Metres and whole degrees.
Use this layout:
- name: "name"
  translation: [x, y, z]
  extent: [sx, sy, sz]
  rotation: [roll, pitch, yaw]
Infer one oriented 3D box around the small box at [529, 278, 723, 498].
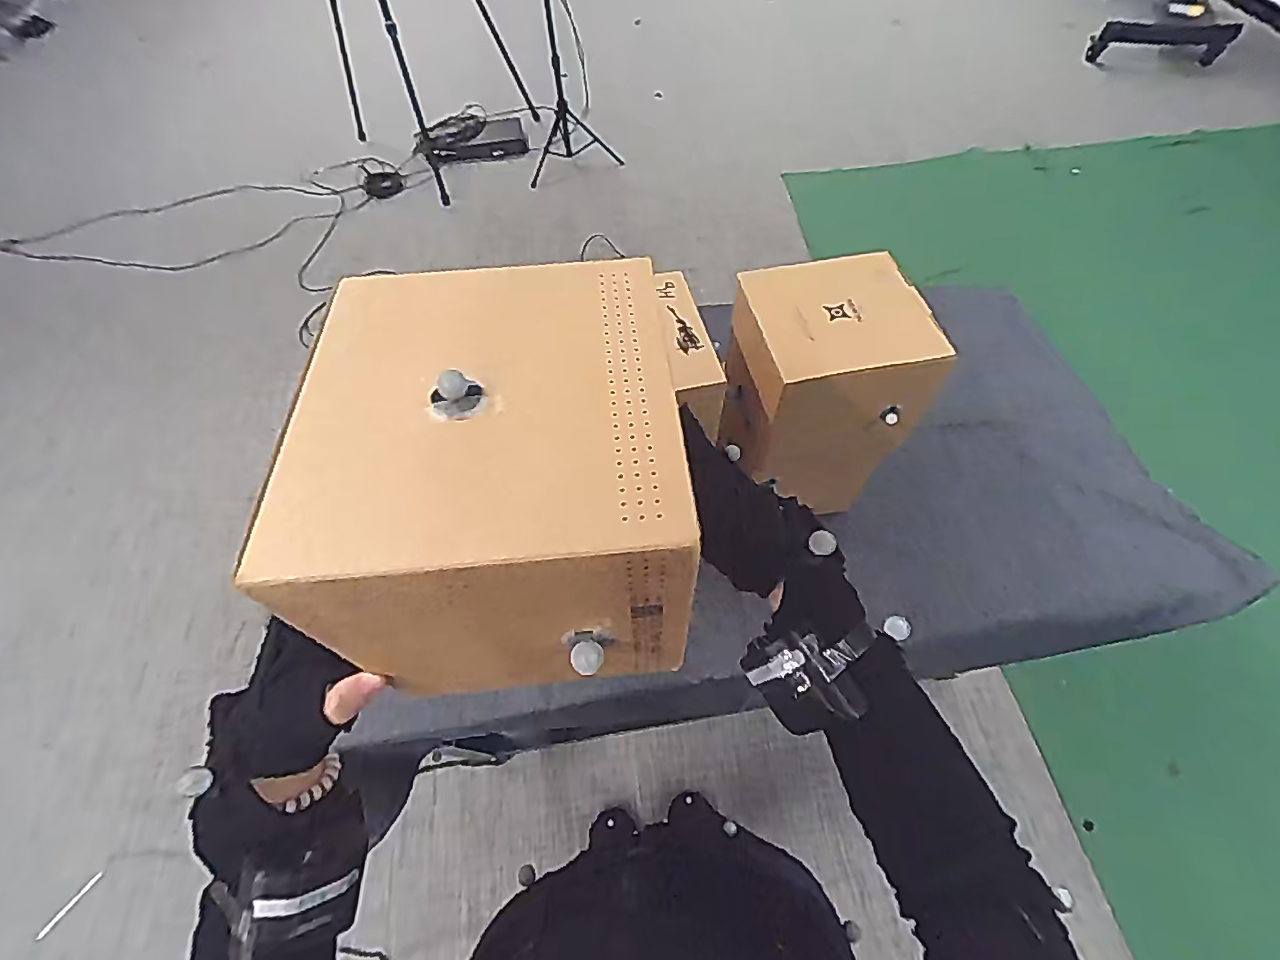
- name: "small box"
  translation: [-0.015, -0.097, 0.623]
  extent: [0.179, 0.176, 0.168]
  rotation: [-13, 60, -5]
